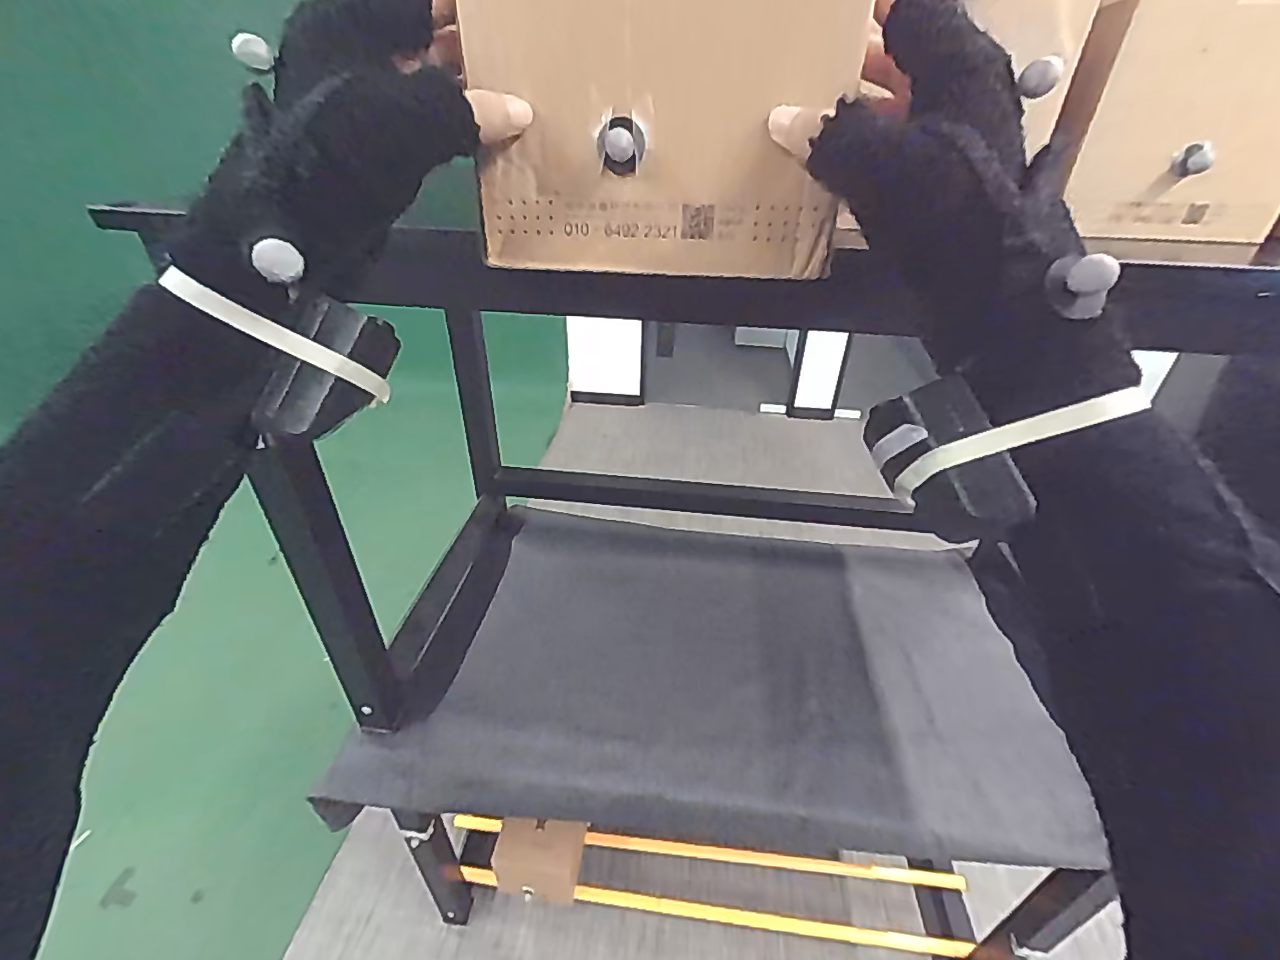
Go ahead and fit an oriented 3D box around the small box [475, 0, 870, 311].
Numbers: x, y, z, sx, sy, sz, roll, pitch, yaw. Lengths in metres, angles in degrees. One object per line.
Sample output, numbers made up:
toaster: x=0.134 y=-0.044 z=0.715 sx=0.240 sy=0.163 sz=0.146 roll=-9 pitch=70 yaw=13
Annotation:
small box: x=0.017 y=-0.203 z=0.302 sx=0.168 sy=0.176 sz=0.179 roll=4 pitch=32 yaw=6
